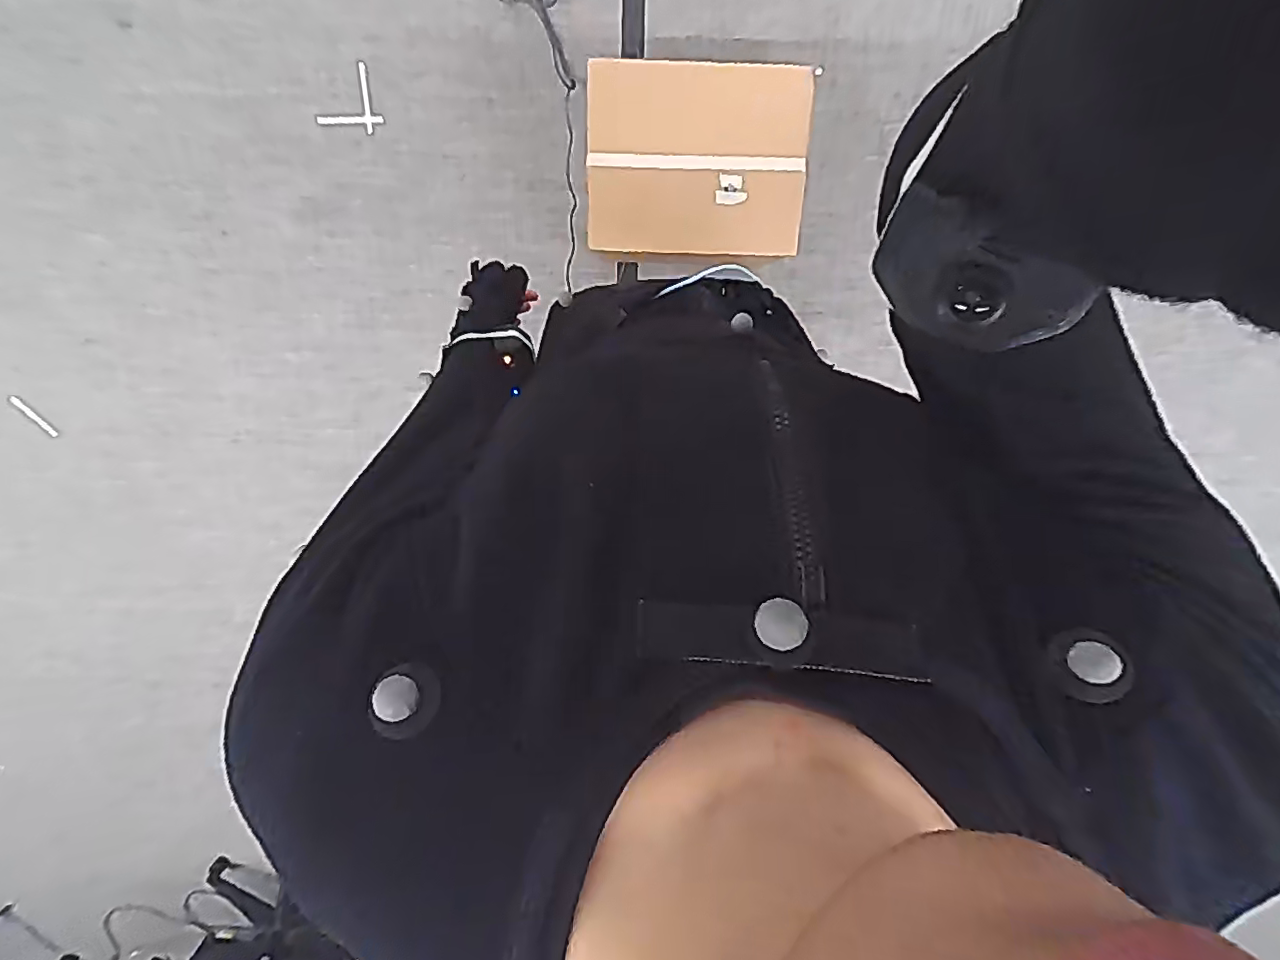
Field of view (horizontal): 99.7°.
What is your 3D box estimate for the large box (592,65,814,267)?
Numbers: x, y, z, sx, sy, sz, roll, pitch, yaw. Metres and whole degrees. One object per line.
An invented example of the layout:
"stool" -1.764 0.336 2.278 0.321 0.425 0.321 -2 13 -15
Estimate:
"large box" 0.106 -0.632 1.150 0.408 0.320 0.320 2 109 -2
